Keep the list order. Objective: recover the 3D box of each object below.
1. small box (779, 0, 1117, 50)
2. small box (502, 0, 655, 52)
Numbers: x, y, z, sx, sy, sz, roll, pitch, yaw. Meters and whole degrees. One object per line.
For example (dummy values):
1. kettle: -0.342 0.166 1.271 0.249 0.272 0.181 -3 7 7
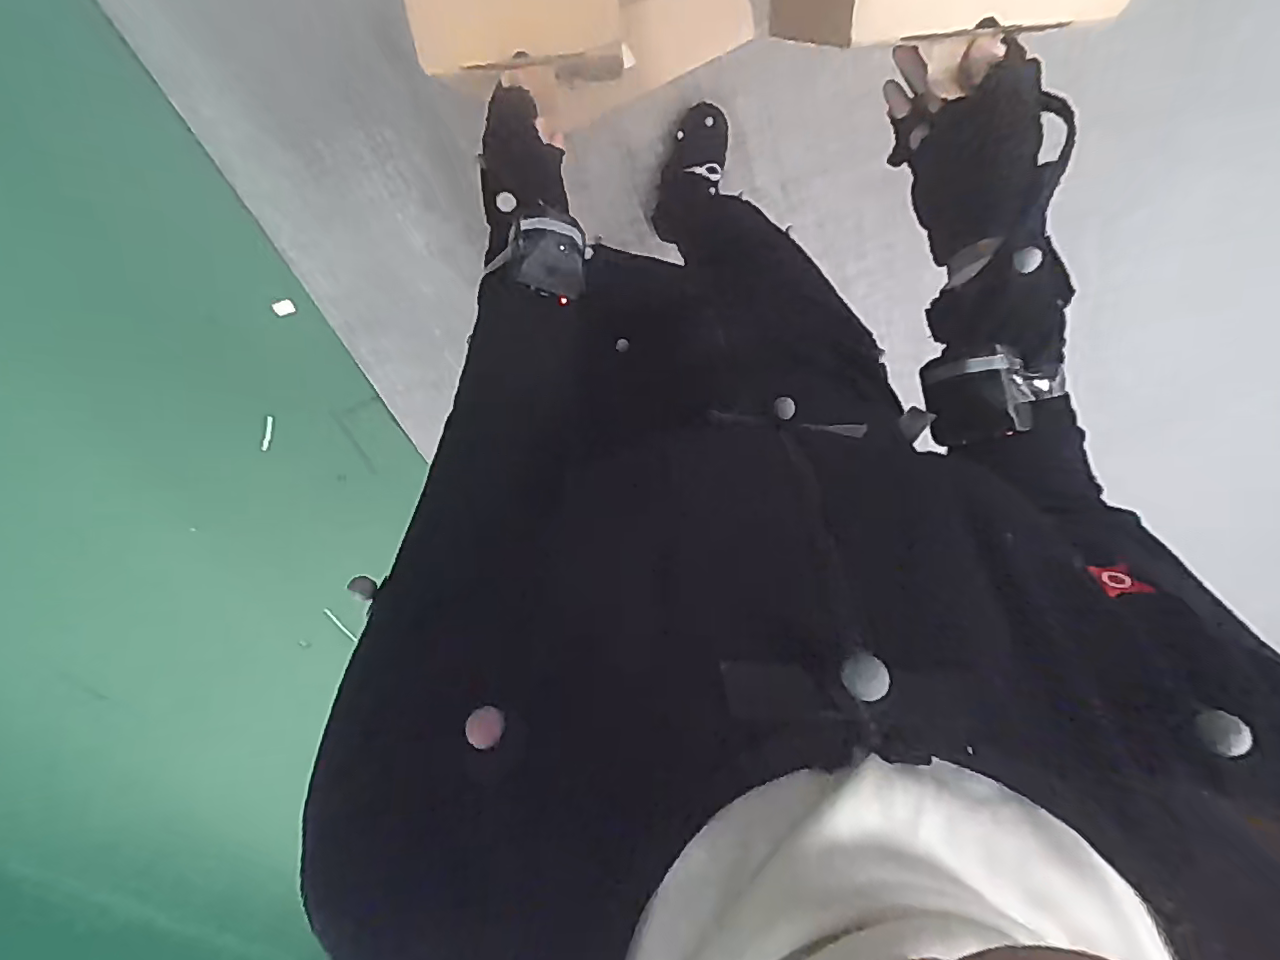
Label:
1. small box: 0.189 -0.385 0.327 0.168 0.176 0.179 -7 131 -2
2. small box: -0.091 -0.649 0.657 0.179 0.176 0.168 -14 128 6
